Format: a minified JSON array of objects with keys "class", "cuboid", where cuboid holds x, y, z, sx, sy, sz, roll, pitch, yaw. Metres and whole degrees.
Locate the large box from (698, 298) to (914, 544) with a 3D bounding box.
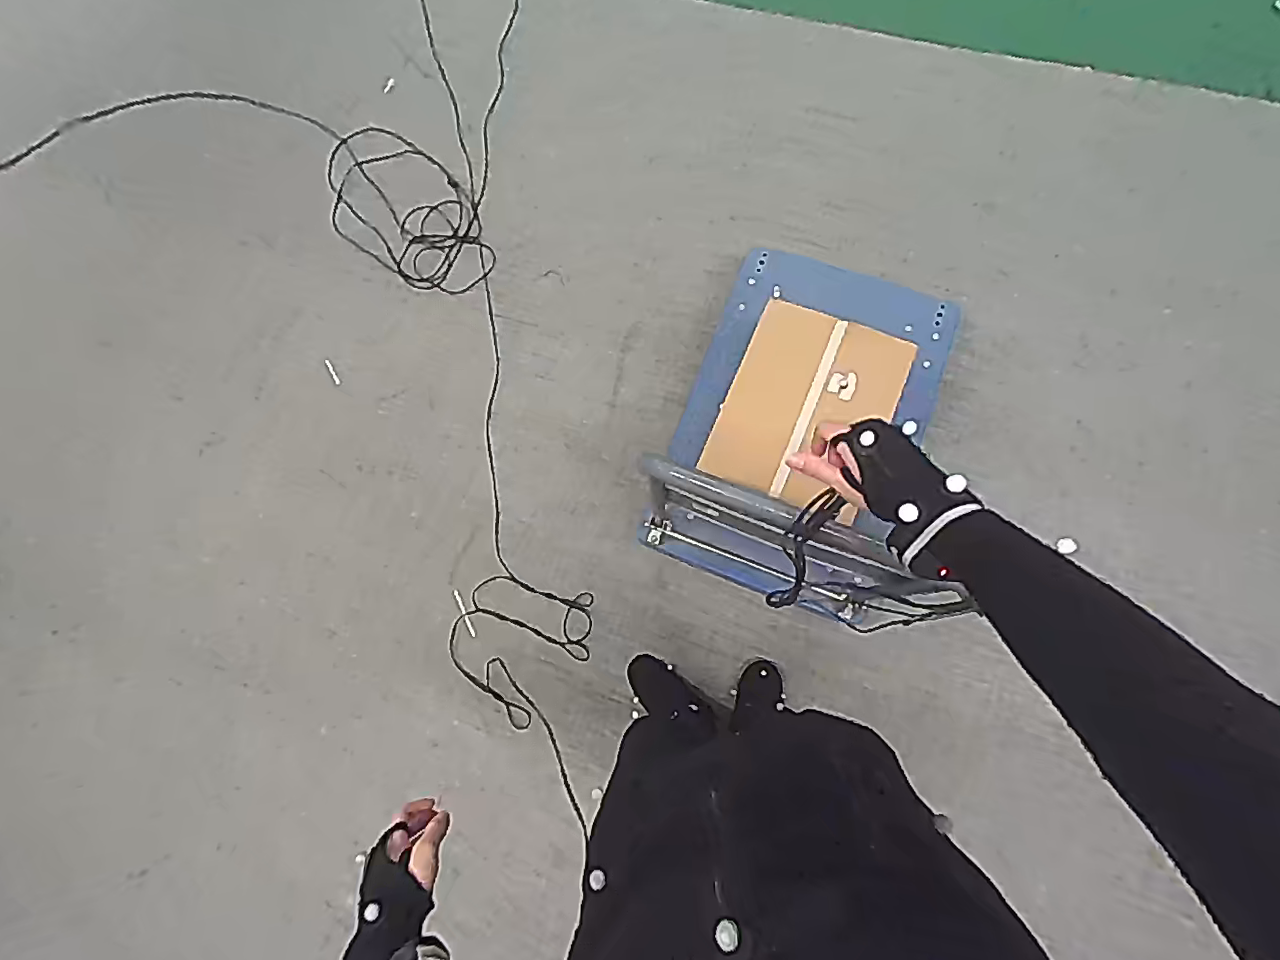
[{"class":"large box","cuboid":[0.340,-0.109,1.201,0.320,0.320,0.408,23,80,9]}]
